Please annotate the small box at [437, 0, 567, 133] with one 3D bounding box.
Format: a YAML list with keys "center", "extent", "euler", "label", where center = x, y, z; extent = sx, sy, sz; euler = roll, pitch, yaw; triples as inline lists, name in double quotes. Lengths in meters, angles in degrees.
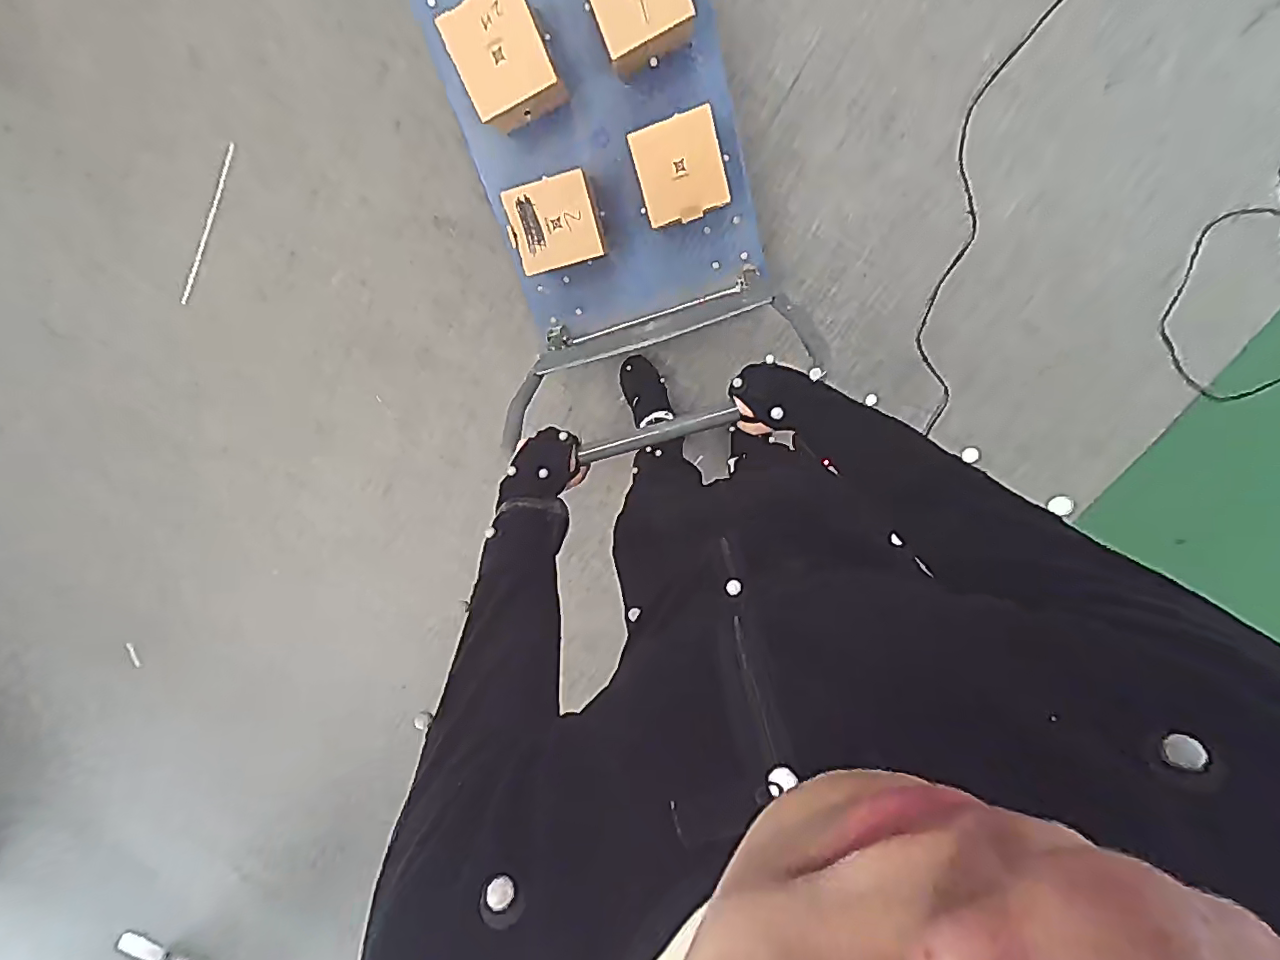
- center: [-0.256, -0.807, 1.058]
  extent: [0.168, 0.176, 0.179]
  euler: [-20, 113, 10]
  label: "small box"

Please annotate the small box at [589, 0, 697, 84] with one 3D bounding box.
- center: [-0.003, -0.889, 1.012]
  extent: [0.168, 0.176, 0.179]
  euler: [-20, 114, 11]
  label: "small box"

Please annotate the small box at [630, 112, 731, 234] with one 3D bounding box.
- center: [0.082, -0.631, 1.132]
  extent: [0.168, 0.176, 0.179]
  euler: [-15, 114, 9]
  label: "small box"
